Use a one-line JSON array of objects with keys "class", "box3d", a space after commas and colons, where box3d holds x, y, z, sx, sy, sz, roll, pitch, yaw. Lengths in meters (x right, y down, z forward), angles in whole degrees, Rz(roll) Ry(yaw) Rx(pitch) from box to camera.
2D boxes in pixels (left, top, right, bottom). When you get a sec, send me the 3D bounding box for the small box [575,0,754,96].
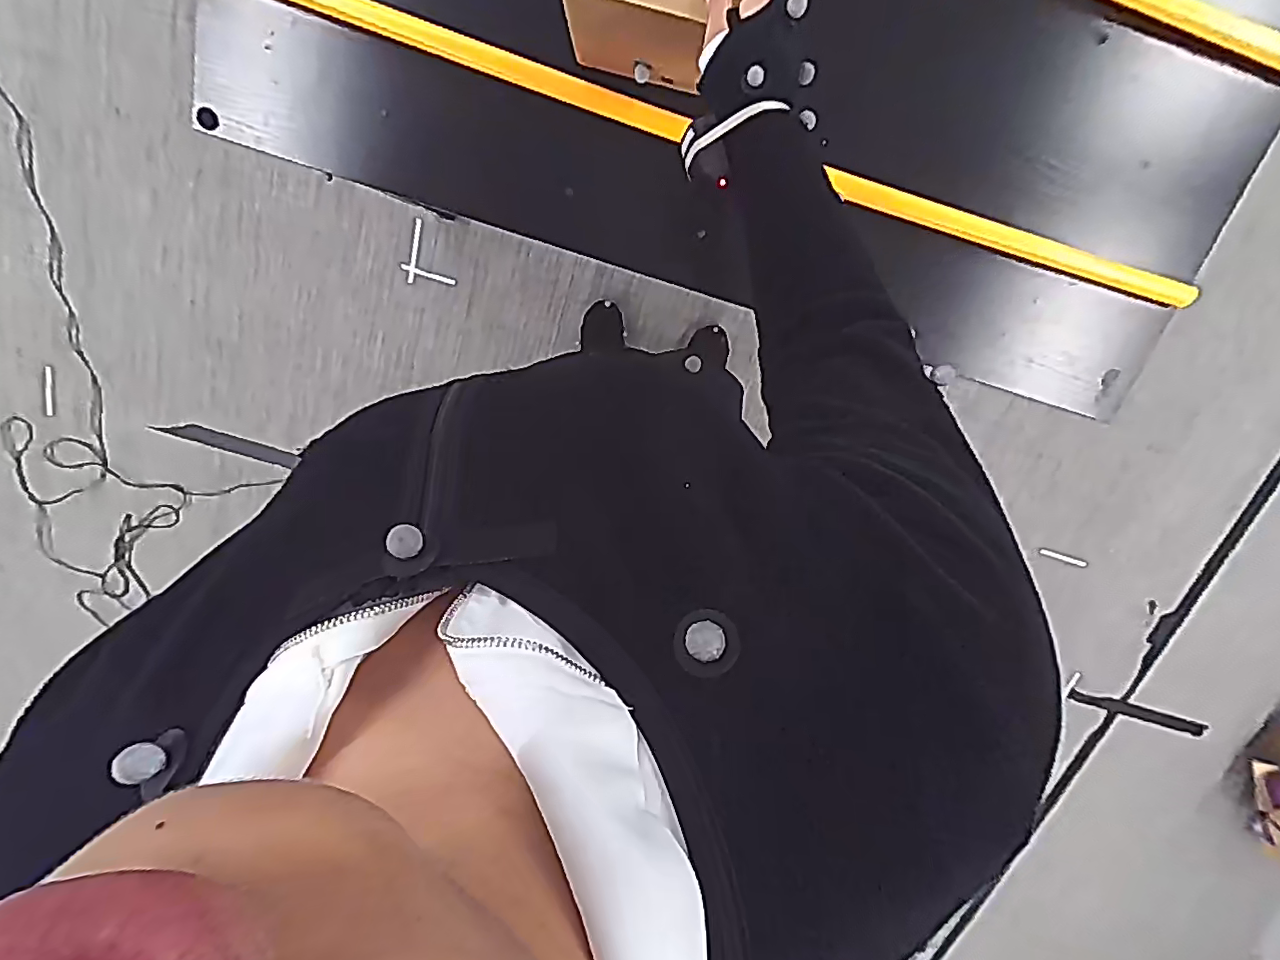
[{"class": "small box", "box3d": [0.031, -0.508, 0.510, 0.168, 0.176, 0.179, 12, 108, -4]}]
